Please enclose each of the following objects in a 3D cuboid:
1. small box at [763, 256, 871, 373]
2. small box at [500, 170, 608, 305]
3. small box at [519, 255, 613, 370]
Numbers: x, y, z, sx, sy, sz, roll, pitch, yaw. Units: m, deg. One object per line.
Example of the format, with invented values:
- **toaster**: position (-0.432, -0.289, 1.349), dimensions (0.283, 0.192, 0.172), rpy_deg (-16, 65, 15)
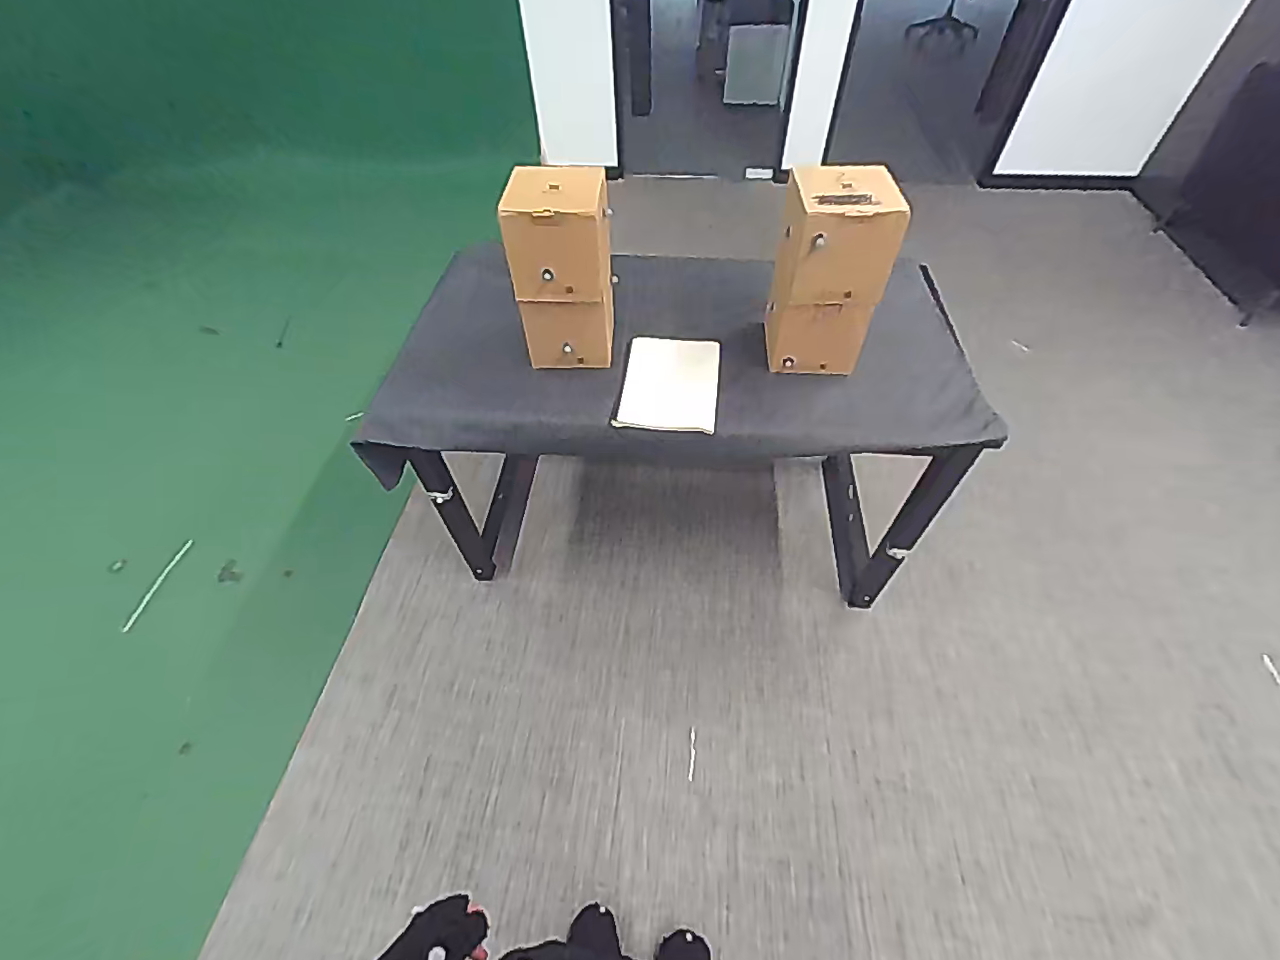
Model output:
- **small box**: position (0.351, -0.335, 1.104), dimensions (0.168, 0.176, 0.179), rpy_deg (3, 51, 3)
- **small box**: position (-0.147, -0.445, 0.995), dimensions (0.168, 0.176, 0.179), rpy_deg (1, 51, 1)
- **small box**: position (-0.145, -0.350, 1.126), dimensions (0.168, 0.176, 0.179), rpy_deg (-1, 51, 1)
